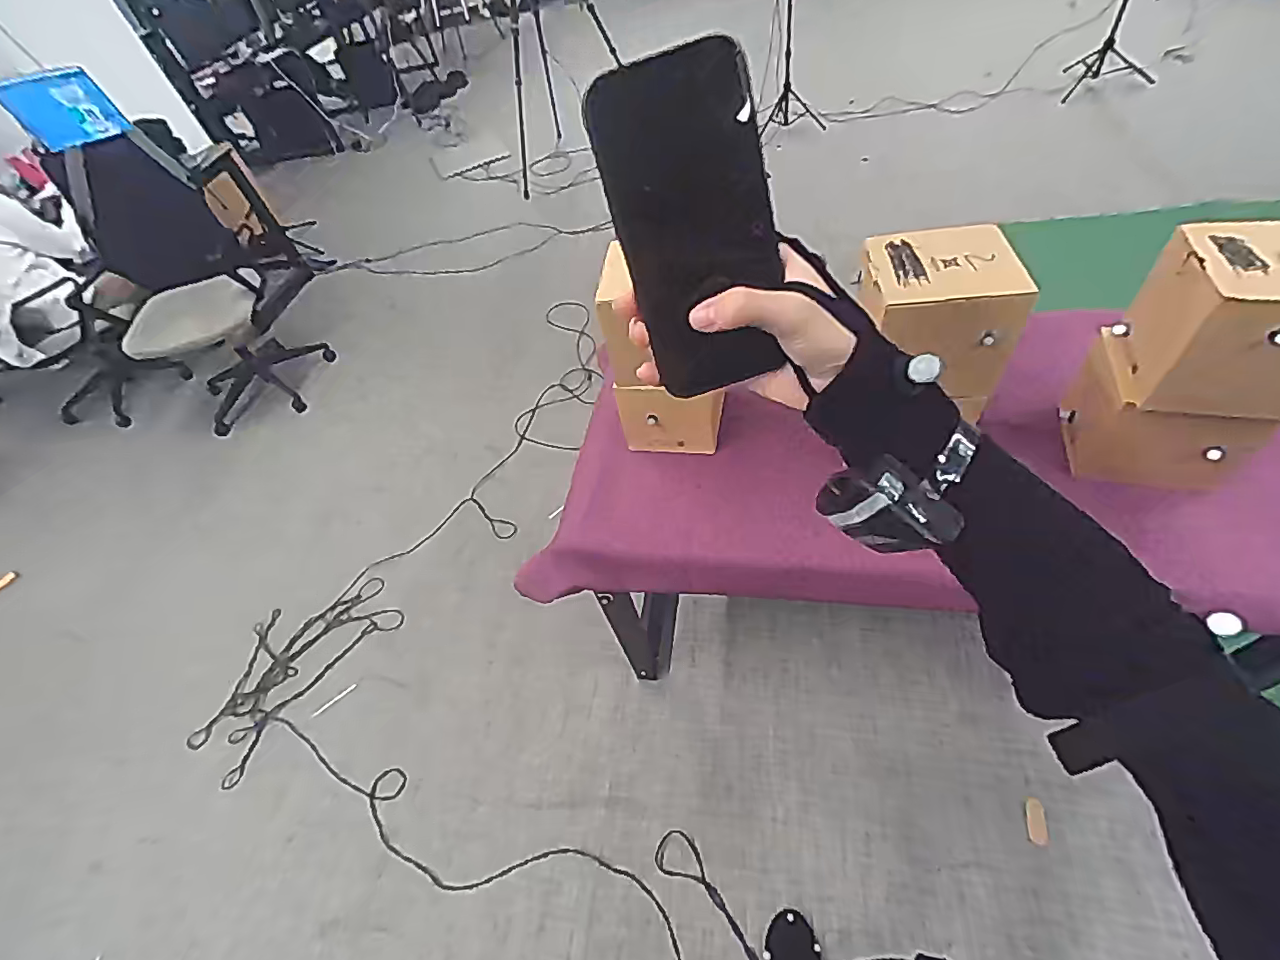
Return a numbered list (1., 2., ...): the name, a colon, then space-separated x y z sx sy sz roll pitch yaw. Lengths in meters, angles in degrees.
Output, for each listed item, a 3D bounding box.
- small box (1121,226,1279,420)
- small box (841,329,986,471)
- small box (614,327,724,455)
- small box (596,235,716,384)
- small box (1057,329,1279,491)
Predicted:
1. small box: 0.740 -0.191 0.665 0.179 0.176 0.168 8 53 18
2. small box: 0.437 -0.129 0.895 0.179 0.176 0.168 3 52 15
3. small box: 0.064 -0.163 1.007 0.168 0.176 0.179 3 52 15
4. small box: 0.037 -0.271 0.887 0.168 0.176 0.179 0 52 11
5. small box: 0.763 -0.101 0.801 0.179 0.176 0.168 8 53 19
